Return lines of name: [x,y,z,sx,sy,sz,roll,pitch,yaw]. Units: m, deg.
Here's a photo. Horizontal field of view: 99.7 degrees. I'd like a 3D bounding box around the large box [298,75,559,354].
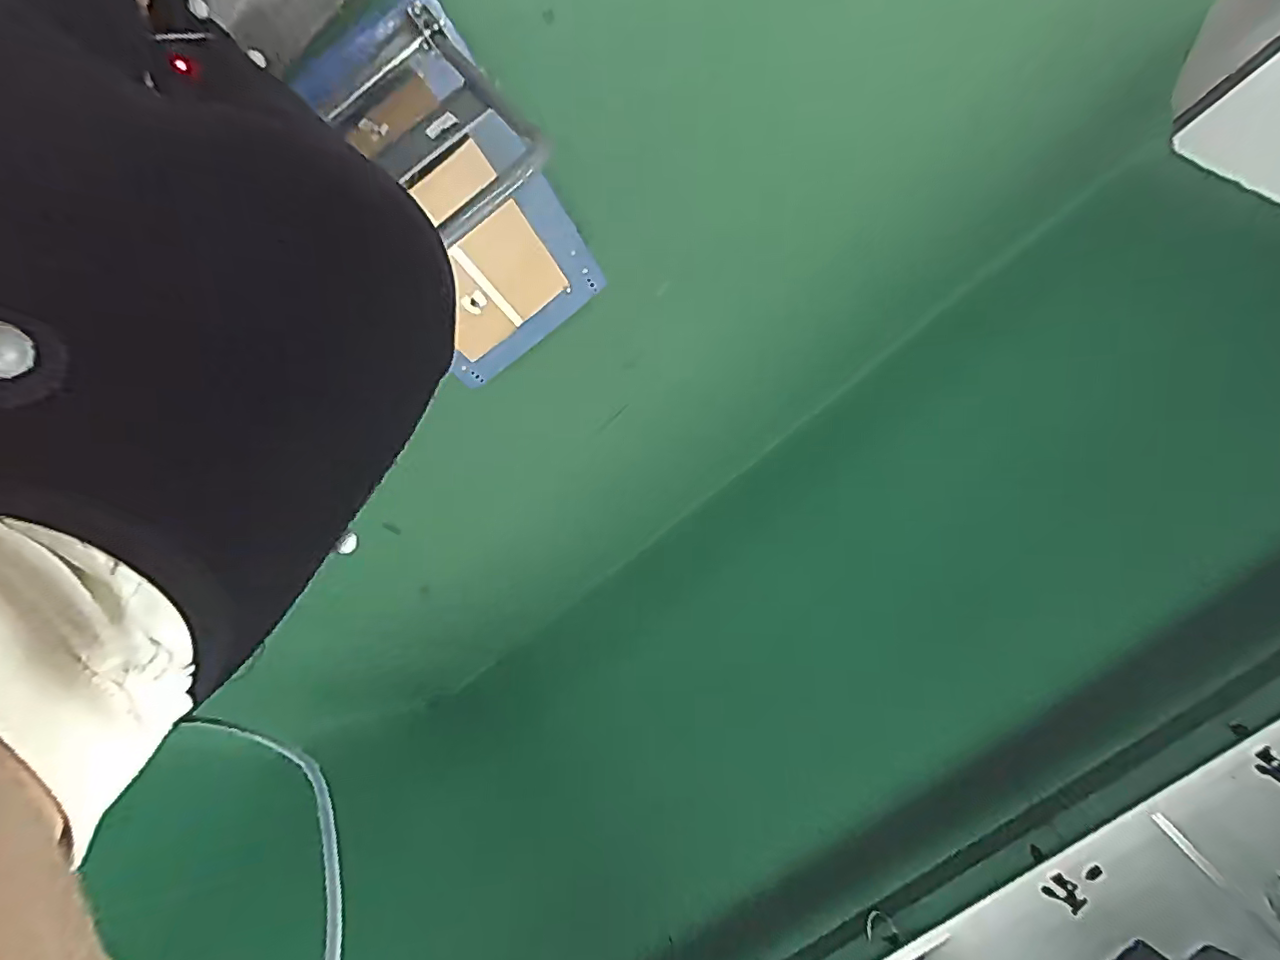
large box: [-0.458,-0.572,1.219,0.320,0.320,0.408,-37,153,3]
